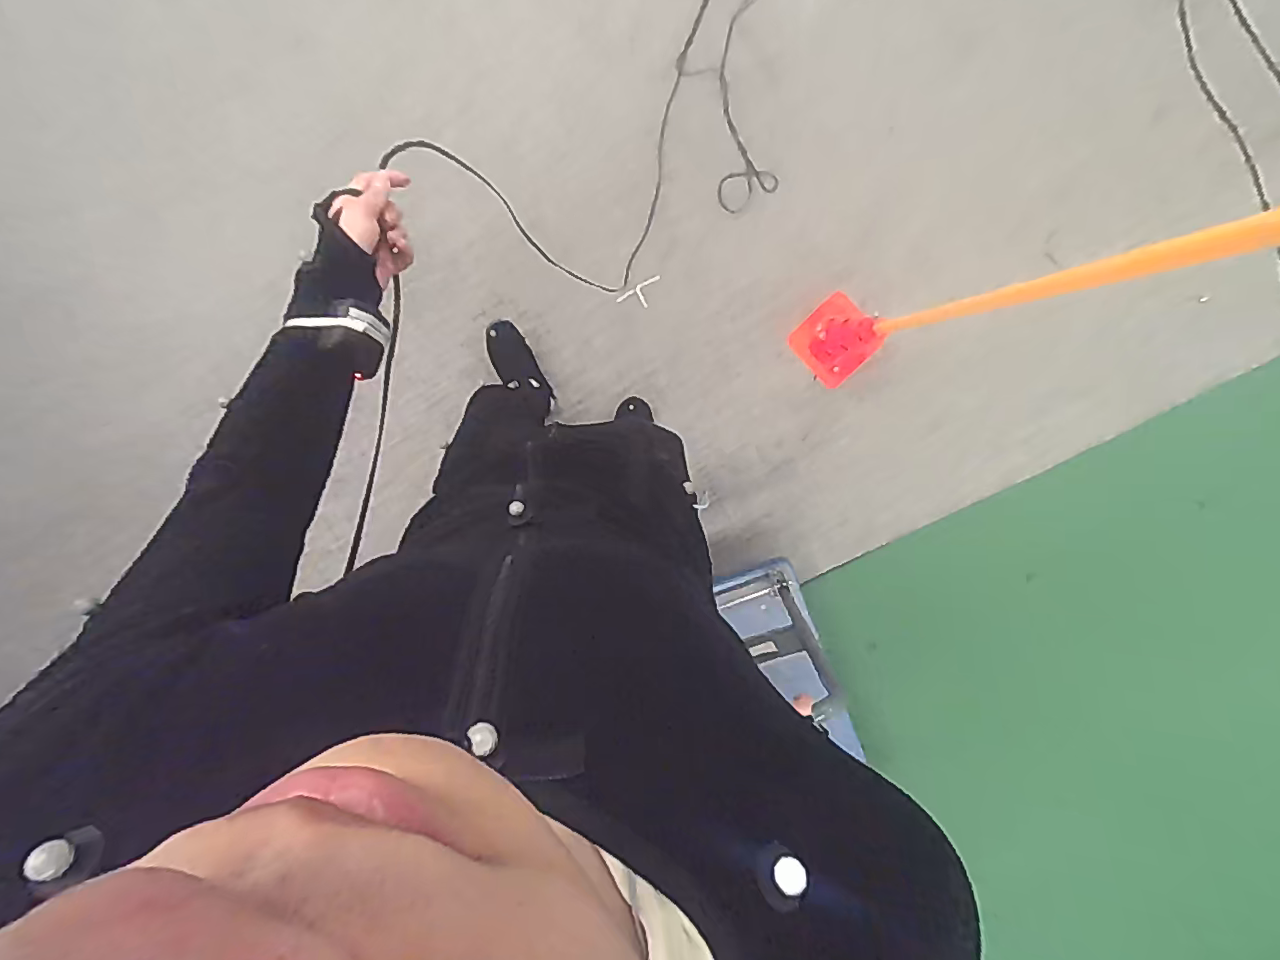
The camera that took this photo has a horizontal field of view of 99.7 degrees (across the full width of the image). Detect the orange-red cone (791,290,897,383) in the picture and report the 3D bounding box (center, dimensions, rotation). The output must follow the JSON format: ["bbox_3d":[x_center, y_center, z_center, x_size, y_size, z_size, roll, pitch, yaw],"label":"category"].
[{"bbox_3d":[0.539,-0.365,1.324,0.199,0.360,0.198,-42,96,8],"label":"orange-red cone"}]
